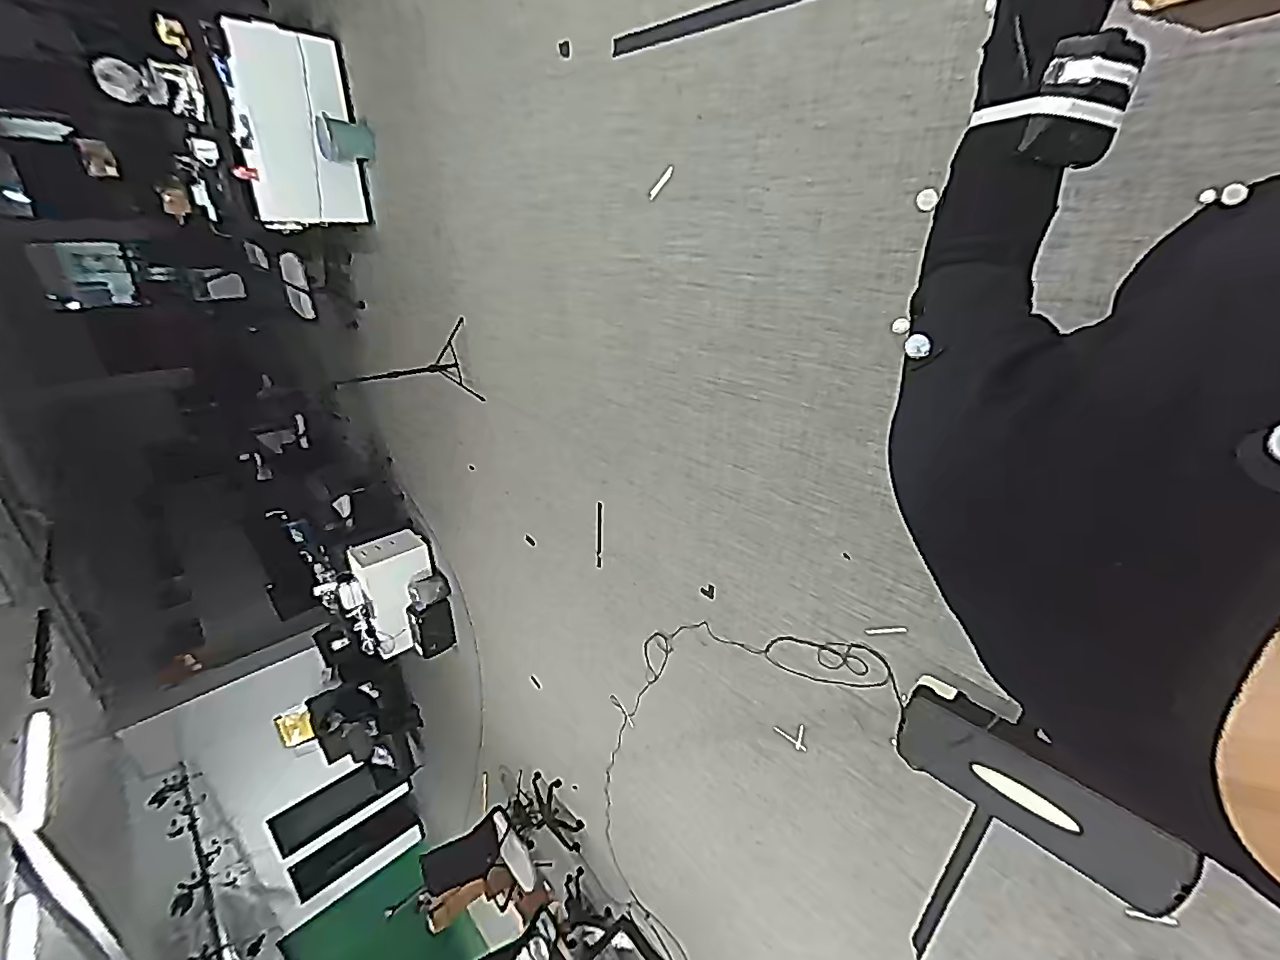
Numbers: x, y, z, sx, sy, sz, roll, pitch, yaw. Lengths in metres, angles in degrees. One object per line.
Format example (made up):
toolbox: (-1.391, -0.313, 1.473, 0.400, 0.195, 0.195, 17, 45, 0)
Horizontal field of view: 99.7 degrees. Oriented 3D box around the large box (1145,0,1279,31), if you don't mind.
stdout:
large box: (0.527, -0.458, 0.227, 0.408, 0.320, 0.320, 17, 128, 44)
